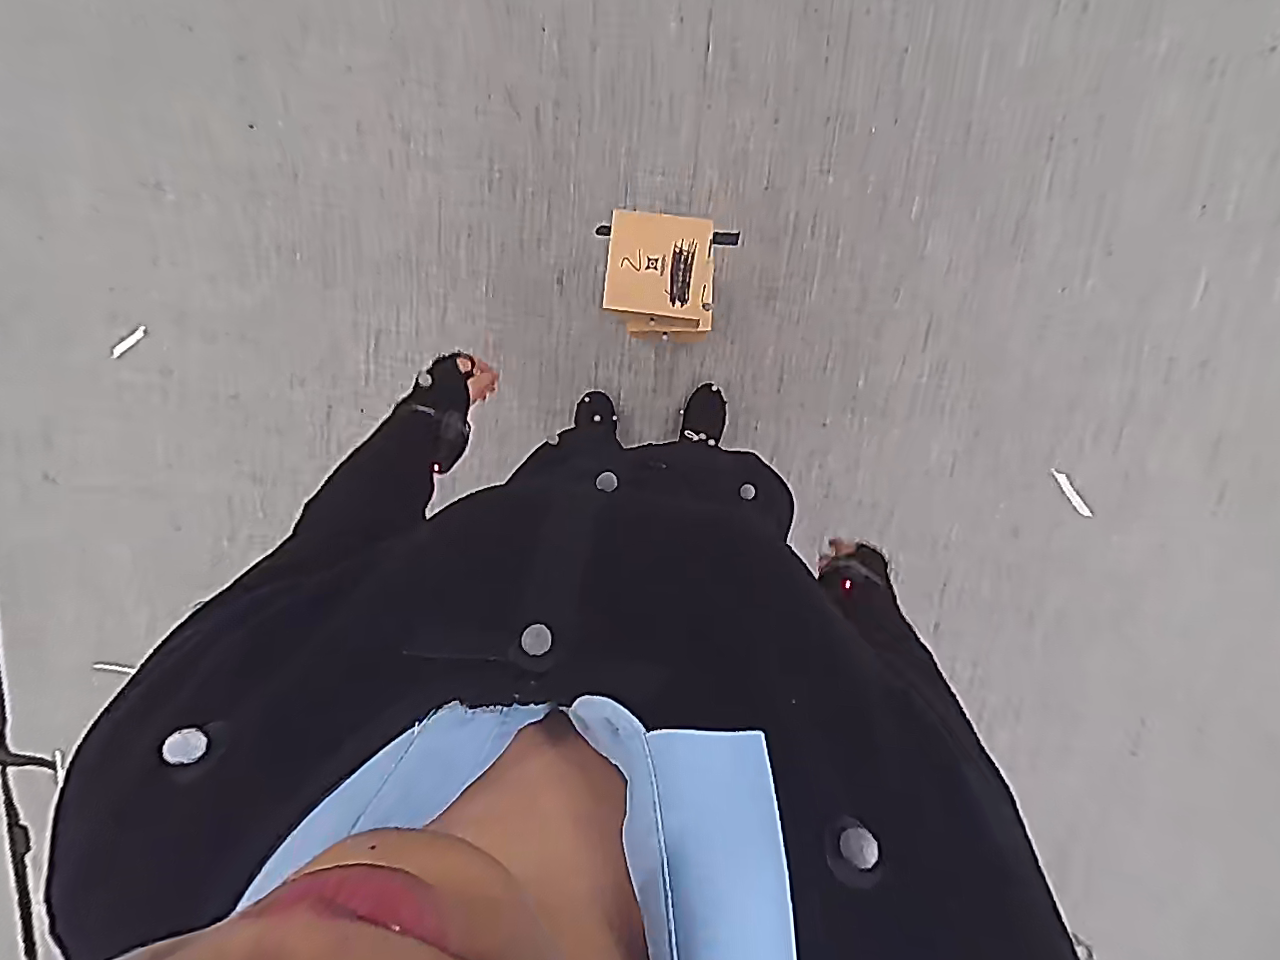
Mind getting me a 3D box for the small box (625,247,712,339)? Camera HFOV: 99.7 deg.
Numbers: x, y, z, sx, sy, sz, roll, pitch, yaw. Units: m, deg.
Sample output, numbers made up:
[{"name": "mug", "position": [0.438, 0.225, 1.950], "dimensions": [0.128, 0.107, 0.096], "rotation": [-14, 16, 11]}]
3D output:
[{"name": "small box", "position": [0.061, -0.397, 1.168], "dimensions": [0.179, 0.176, 0.168], "rotation": [1, 100, 4]}]
